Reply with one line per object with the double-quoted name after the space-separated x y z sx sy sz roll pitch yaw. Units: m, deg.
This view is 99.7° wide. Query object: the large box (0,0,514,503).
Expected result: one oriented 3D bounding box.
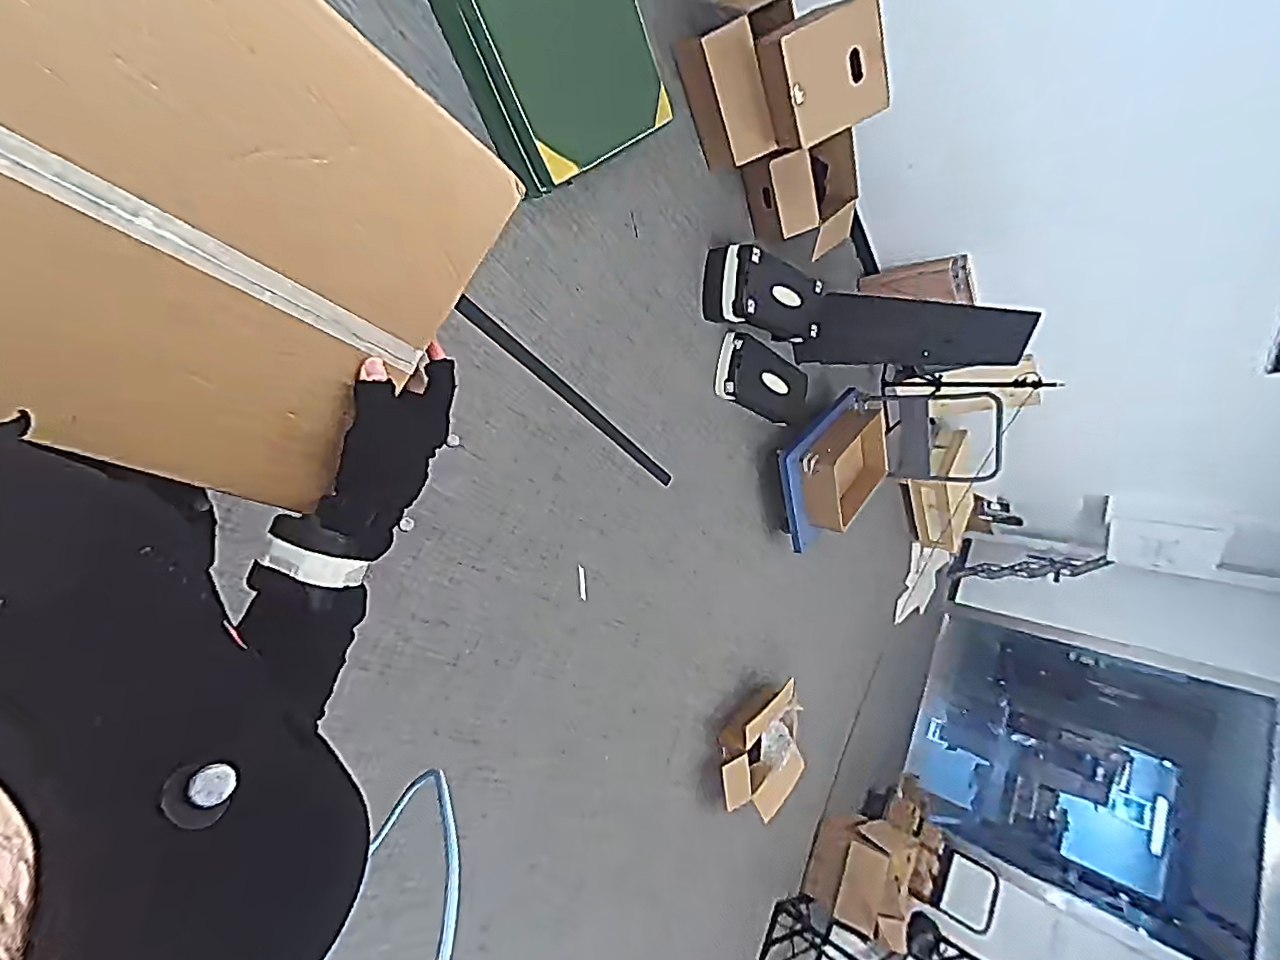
-0.381 -0.239 0.392 0.408 0.320 0.320 27 106 -45 "large box"
